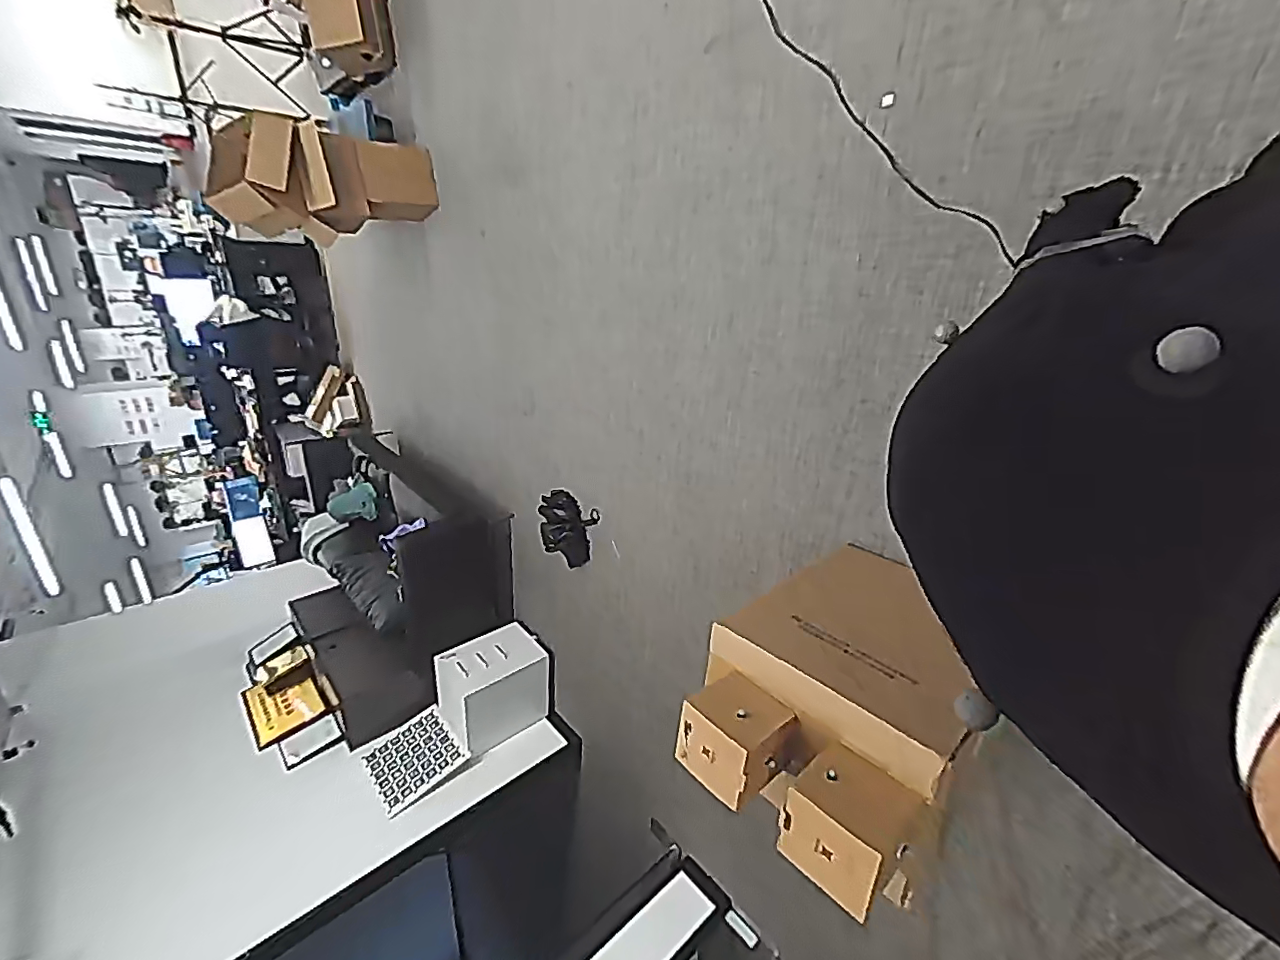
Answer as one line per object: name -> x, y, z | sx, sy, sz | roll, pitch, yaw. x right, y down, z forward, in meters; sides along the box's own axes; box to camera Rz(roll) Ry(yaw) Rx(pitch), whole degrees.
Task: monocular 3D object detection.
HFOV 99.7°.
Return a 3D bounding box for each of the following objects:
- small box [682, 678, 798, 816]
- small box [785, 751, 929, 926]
small box -> 0.217, 0.561, 1.166 | 0.179, 0.176, 0.168 | 24, 116, 42
small box -> 0.394, 0.634, 0.988 | 0.179, 0.176, 0.168 | 20, 115, 42
